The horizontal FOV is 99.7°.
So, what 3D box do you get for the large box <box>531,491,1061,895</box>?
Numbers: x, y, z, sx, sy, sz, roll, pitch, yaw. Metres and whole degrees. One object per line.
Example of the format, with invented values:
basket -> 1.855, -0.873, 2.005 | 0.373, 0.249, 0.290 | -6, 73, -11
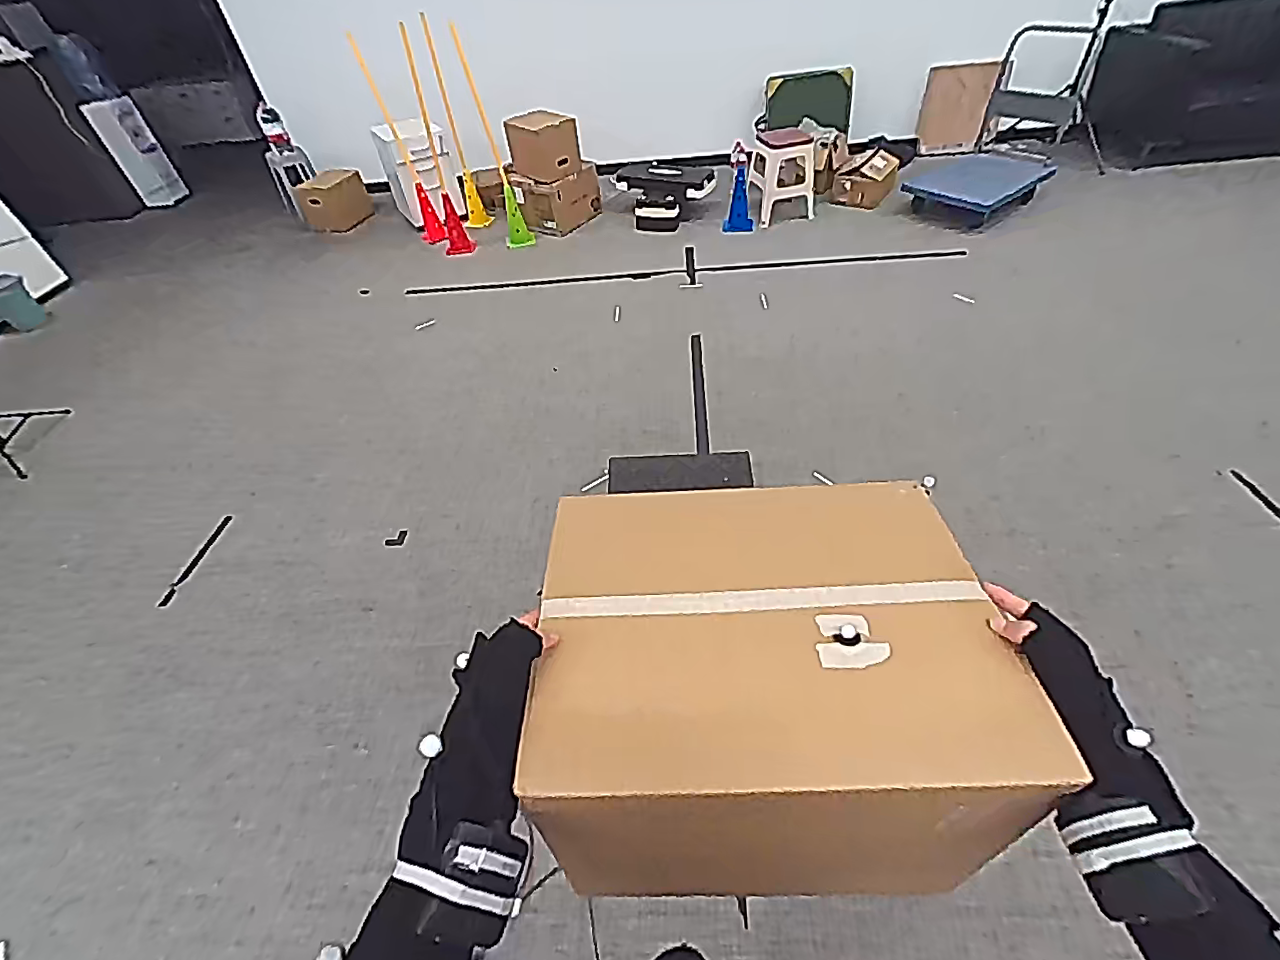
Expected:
large box -> 0.120, 0.235, 0.609 | 0.408, 0.320, 0.320 | -3, 41, 2
